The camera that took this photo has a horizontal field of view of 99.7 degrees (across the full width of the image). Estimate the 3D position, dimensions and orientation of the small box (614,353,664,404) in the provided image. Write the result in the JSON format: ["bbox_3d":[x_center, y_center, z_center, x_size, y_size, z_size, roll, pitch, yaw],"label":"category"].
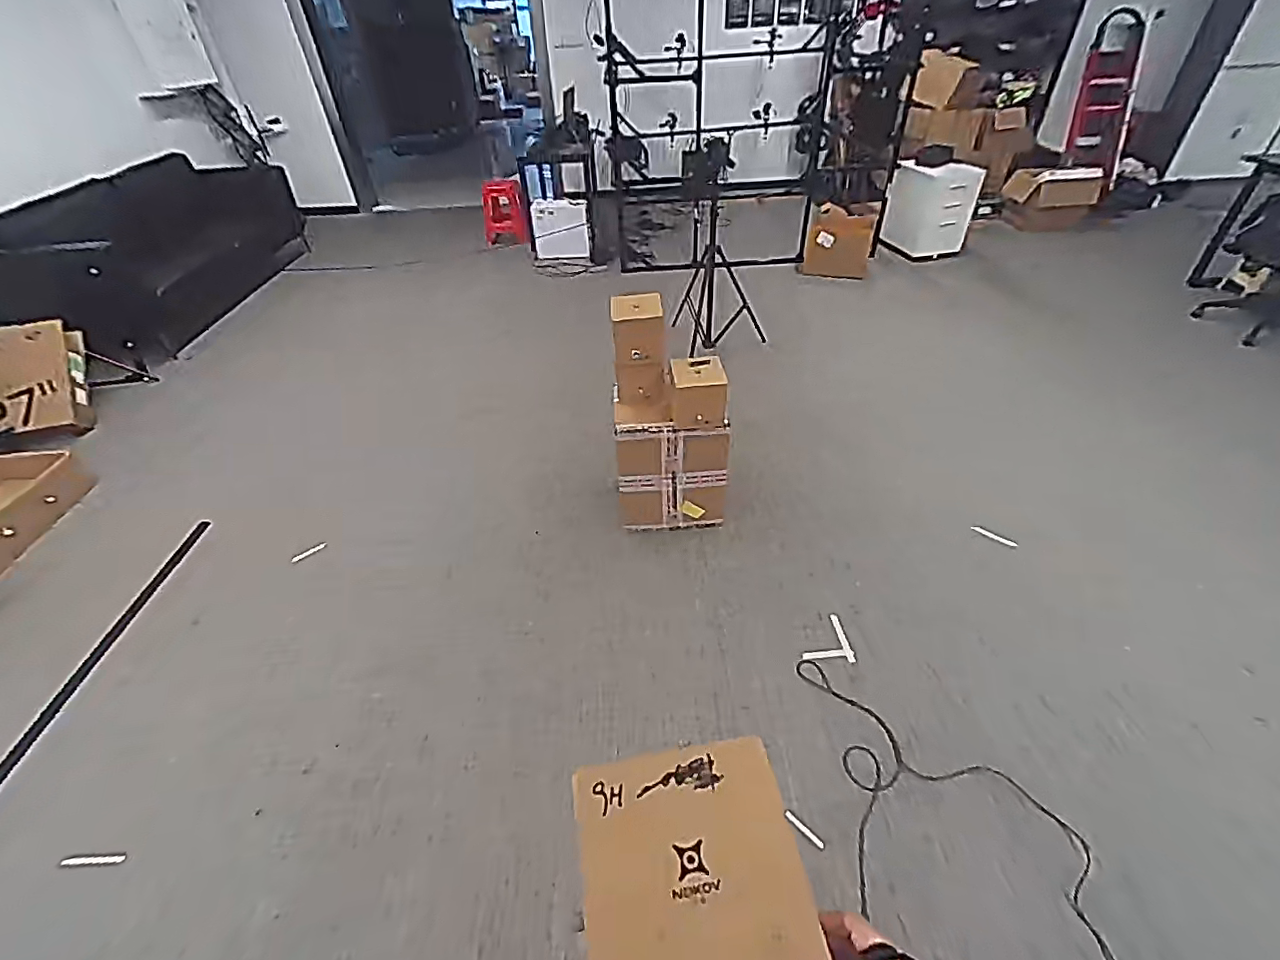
[{"bbox_3d":[-0.005,-0.391,1.928,0.168,0.176,0.179,-5,43,0],"label":"small box"}]

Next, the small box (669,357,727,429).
[{"bbox_3d":[0.187,-0.289,1.801,0.168,0.176,0.179,-5,43,-2],"label":"small box"}]

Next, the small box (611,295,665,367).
[{"bbox_3d":[-0.008,-0.497,1.803,0.168,0.176,0.179,-6,43,0],"label":"small box"}]
